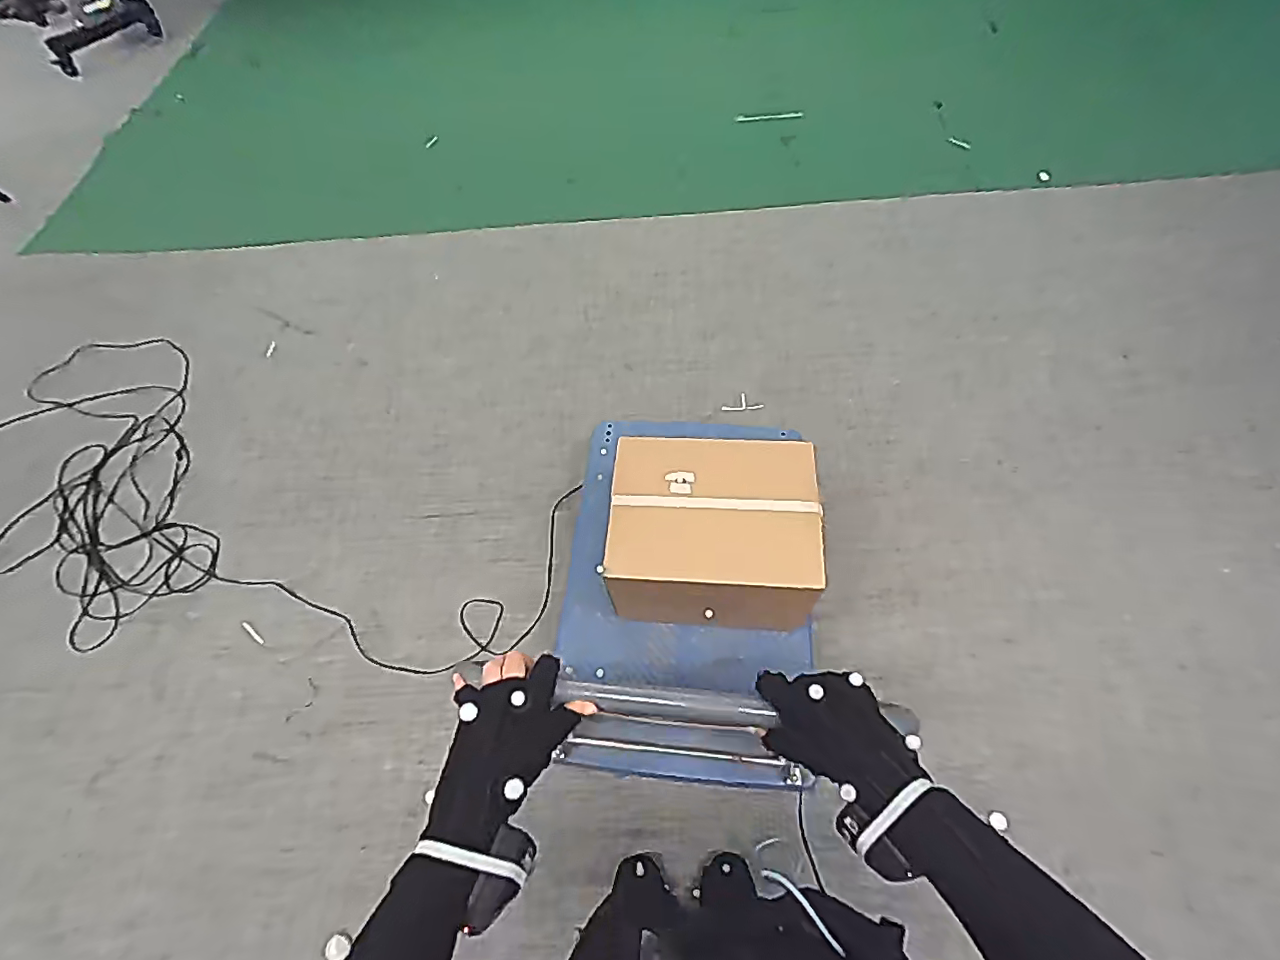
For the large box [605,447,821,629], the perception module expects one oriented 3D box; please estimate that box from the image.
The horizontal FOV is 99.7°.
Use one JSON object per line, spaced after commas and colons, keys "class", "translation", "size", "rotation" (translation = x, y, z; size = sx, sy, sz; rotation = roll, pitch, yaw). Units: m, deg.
{"class": "large box", "translation": [0.155, 0.136, 1.196], "size": [0.408, 0.320, 0.320], "rotation": [1, 60, 7]}
